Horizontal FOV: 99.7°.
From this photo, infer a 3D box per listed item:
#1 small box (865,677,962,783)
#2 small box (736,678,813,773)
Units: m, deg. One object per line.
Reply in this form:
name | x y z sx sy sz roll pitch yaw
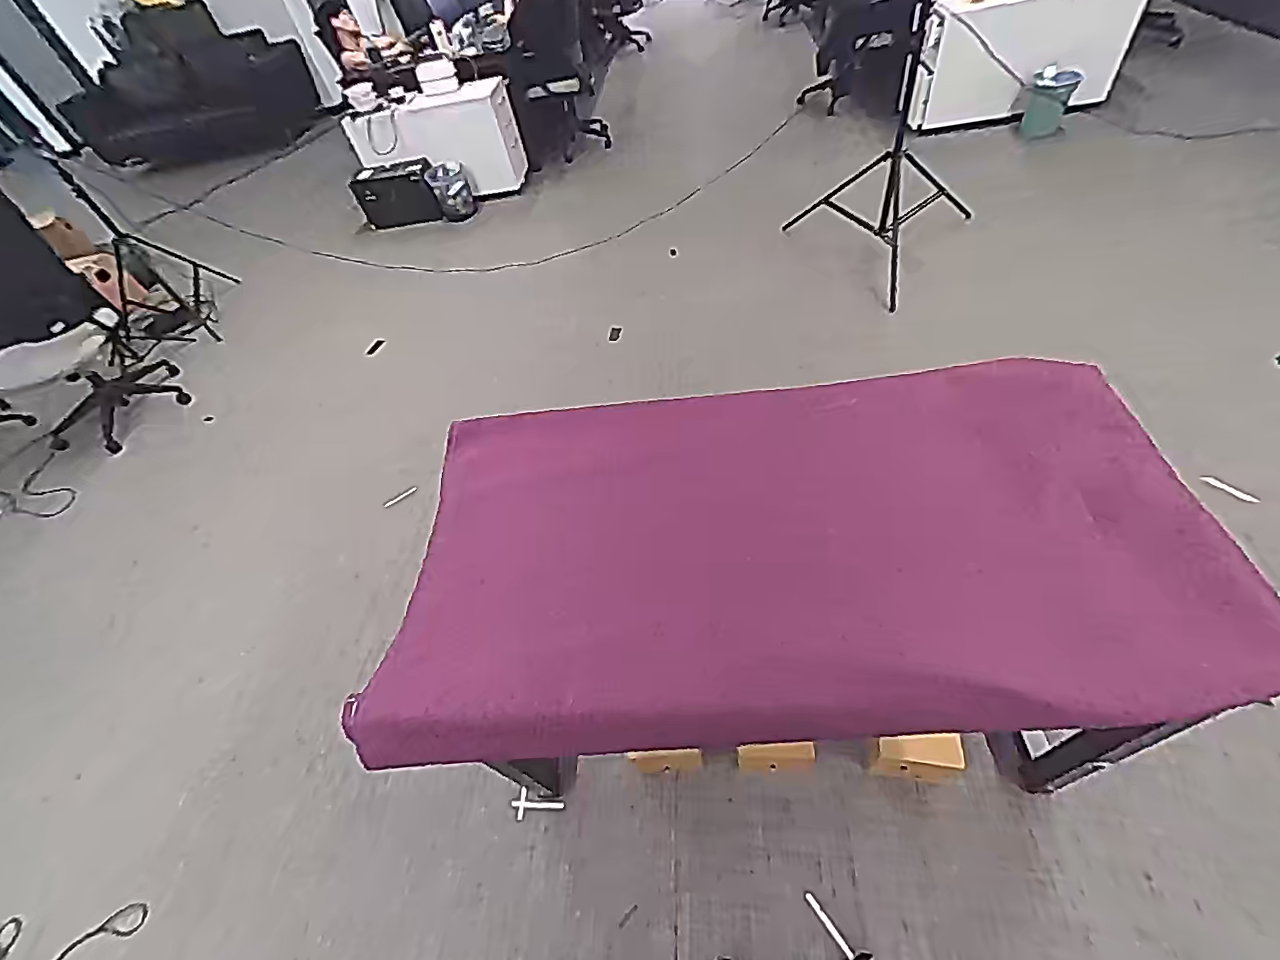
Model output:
small box | 0.623 0.582 1.252 0.168 0.176 0.179 3 51 14
small box | 0.319 0.593 1.303 0.168 0.176 0.179 -2 50 9
